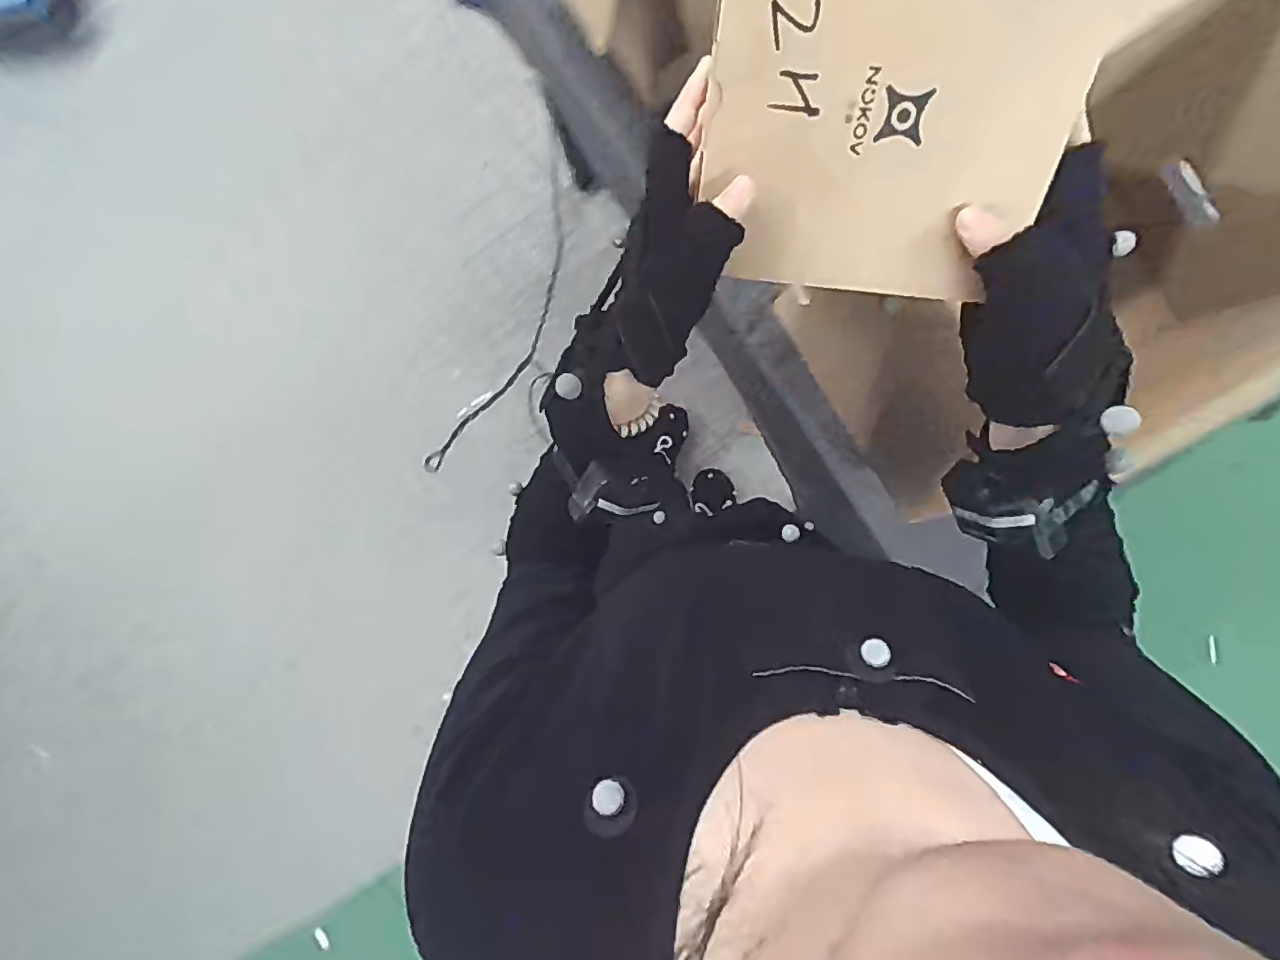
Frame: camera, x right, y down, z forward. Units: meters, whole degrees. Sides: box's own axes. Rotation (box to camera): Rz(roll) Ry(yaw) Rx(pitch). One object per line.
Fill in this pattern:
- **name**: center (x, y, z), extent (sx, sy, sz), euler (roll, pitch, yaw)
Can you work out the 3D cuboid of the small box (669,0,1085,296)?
- **small box**: center (0.117, -0.223, 0.337), extent (0.179, 0.176, 0.168), euler (7, 120, 4)
